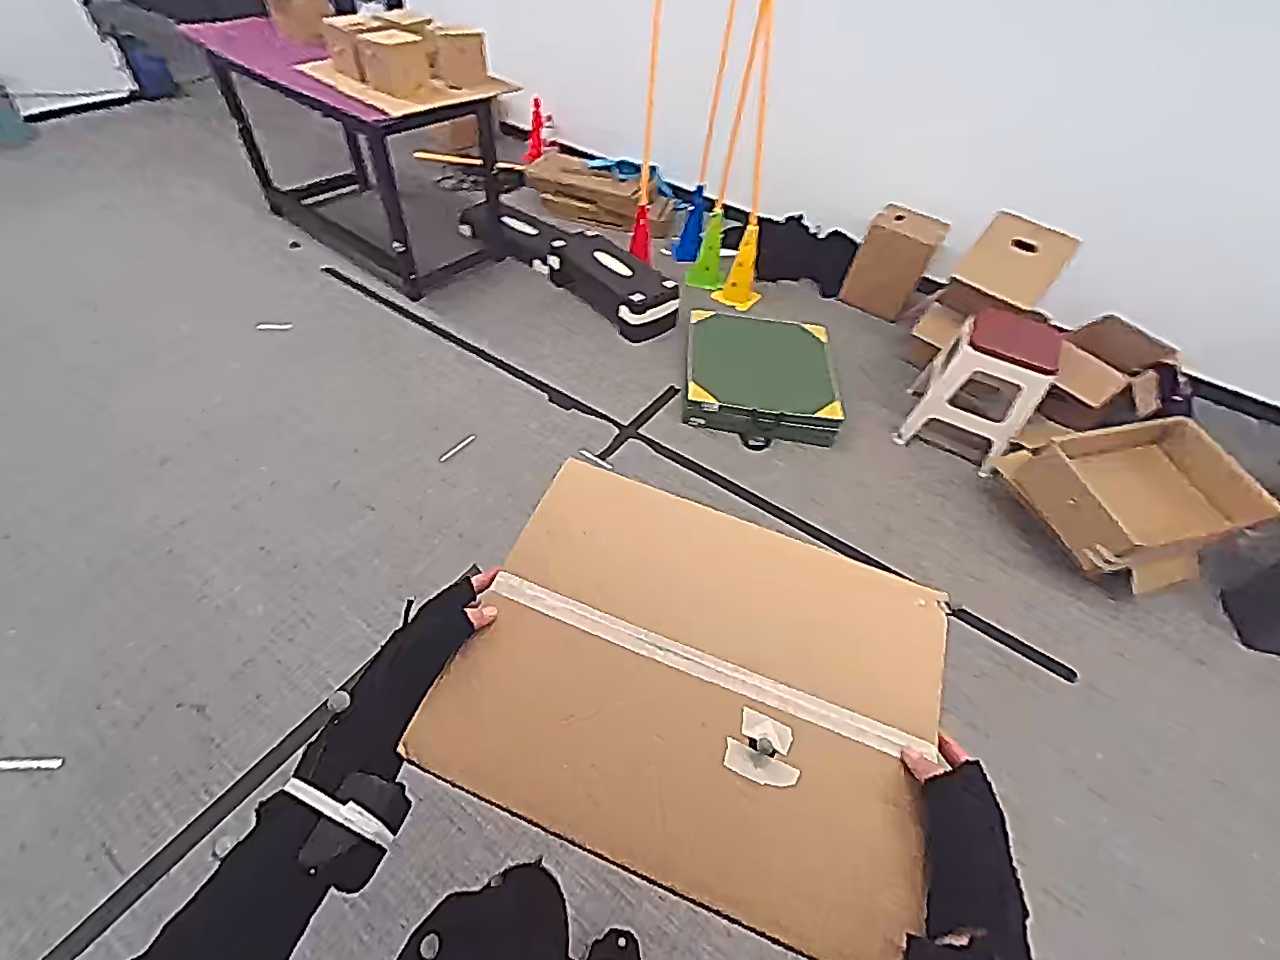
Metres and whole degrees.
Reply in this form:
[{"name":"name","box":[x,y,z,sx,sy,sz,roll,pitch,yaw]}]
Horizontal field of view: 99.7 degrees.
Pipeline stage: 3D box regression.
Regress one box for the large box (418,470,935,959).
[{"name":"large box","box":[0.045,0.248,0.609,0.408,0.320,0.320,20,58,9]}]
